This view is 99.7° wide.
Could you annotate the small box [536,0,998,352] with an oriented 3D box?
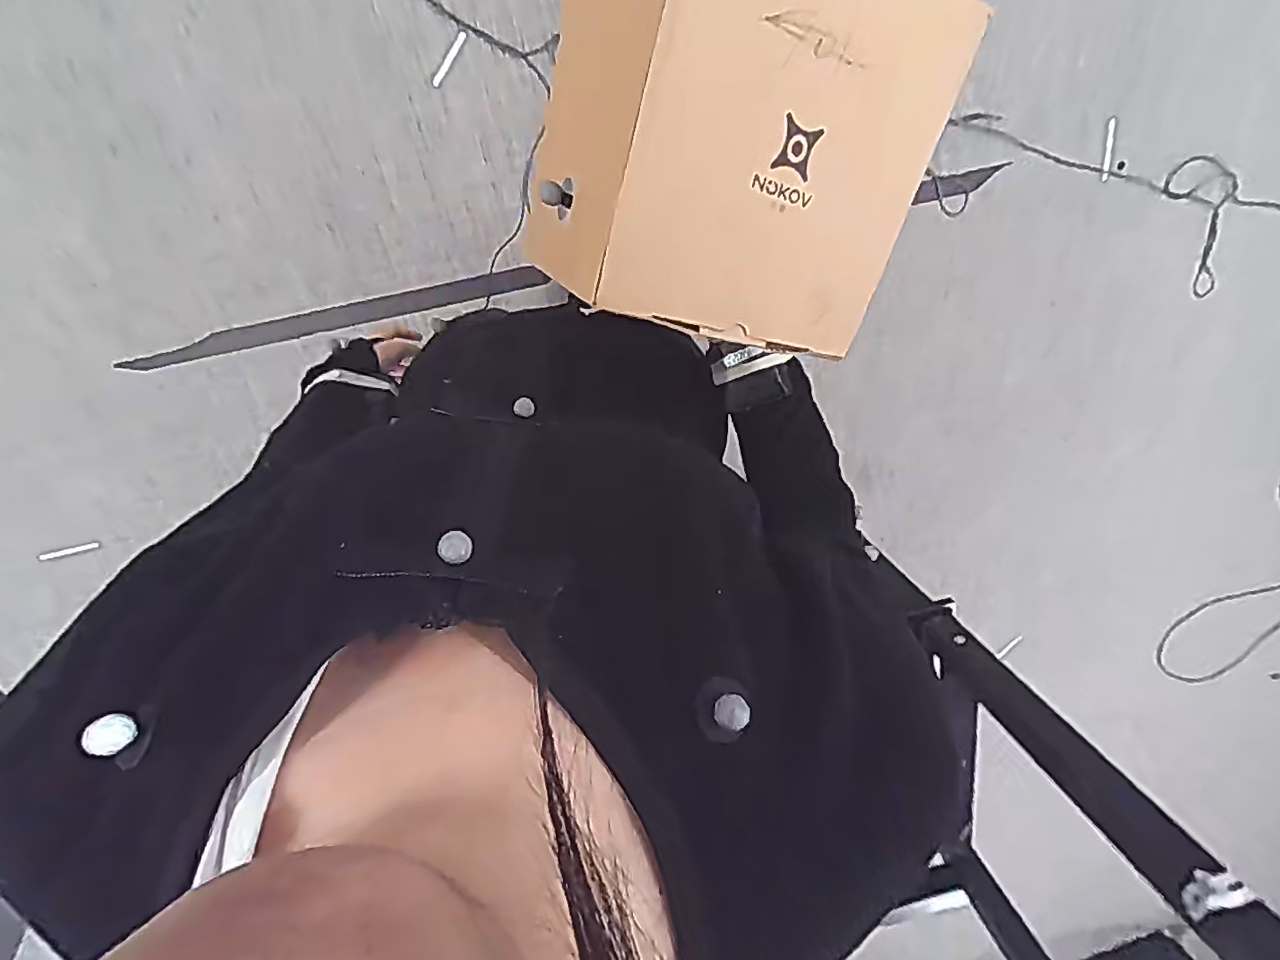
[{"bbox_3d":[0.045,-0.193,0.314,0.168,0.176,0.179,3,116,-27],"label":"small box"}]
